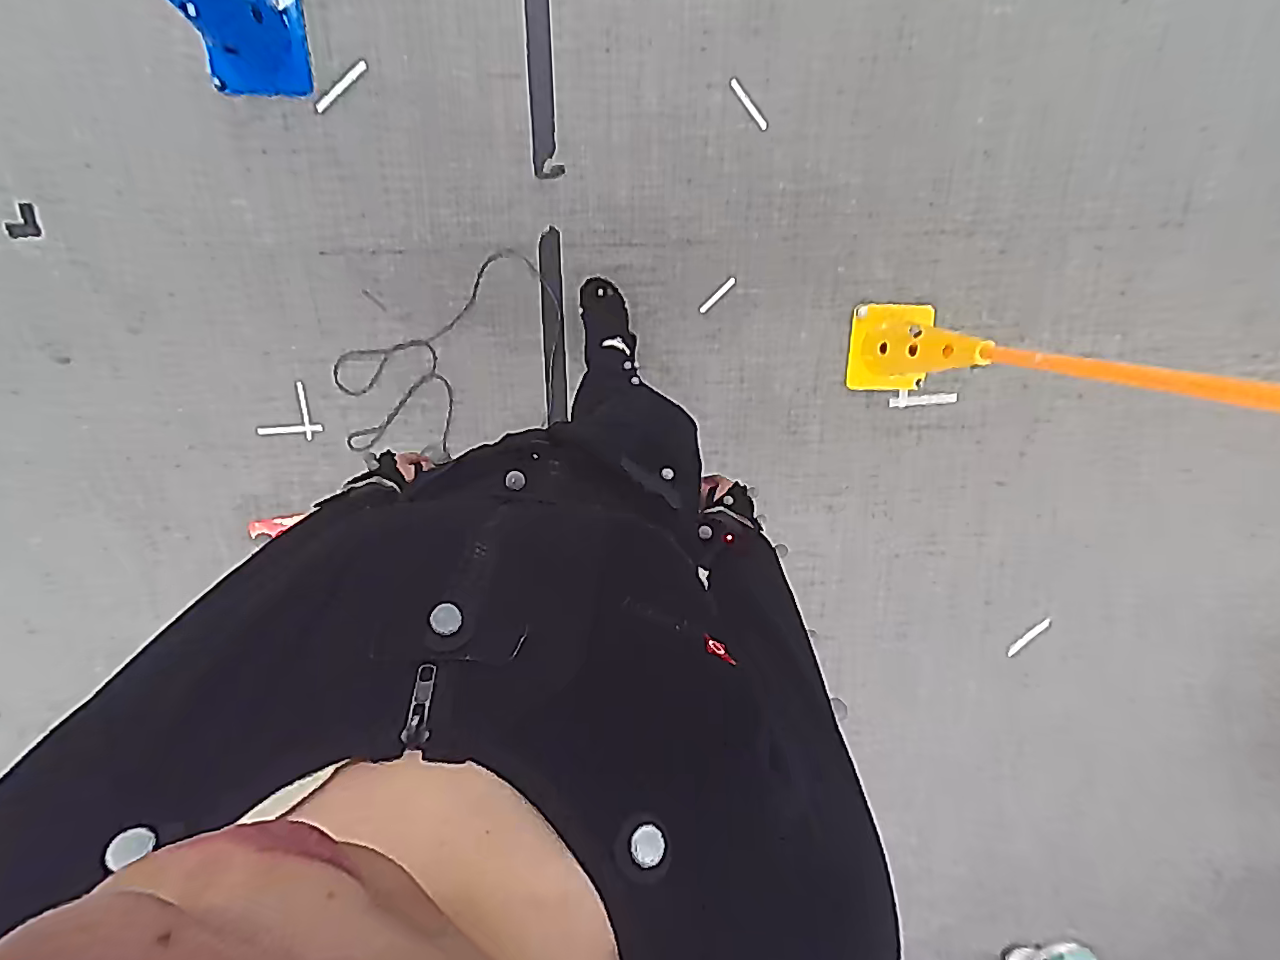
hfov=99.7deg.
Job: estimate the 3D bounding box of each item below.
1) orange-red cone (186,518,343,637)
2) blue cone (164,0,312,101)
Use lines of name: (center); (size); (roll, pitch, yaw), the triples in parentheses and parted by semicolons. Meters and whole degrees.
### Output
orange-red cone: (-0.857, 0.238, 1.201); (0.199, 0.360, 0.198); (-7, 105, -2)
blue cone: (-0.766, -0.838, 0.937); (0.193, 0.380, 0.192); (1, 105, -3)
